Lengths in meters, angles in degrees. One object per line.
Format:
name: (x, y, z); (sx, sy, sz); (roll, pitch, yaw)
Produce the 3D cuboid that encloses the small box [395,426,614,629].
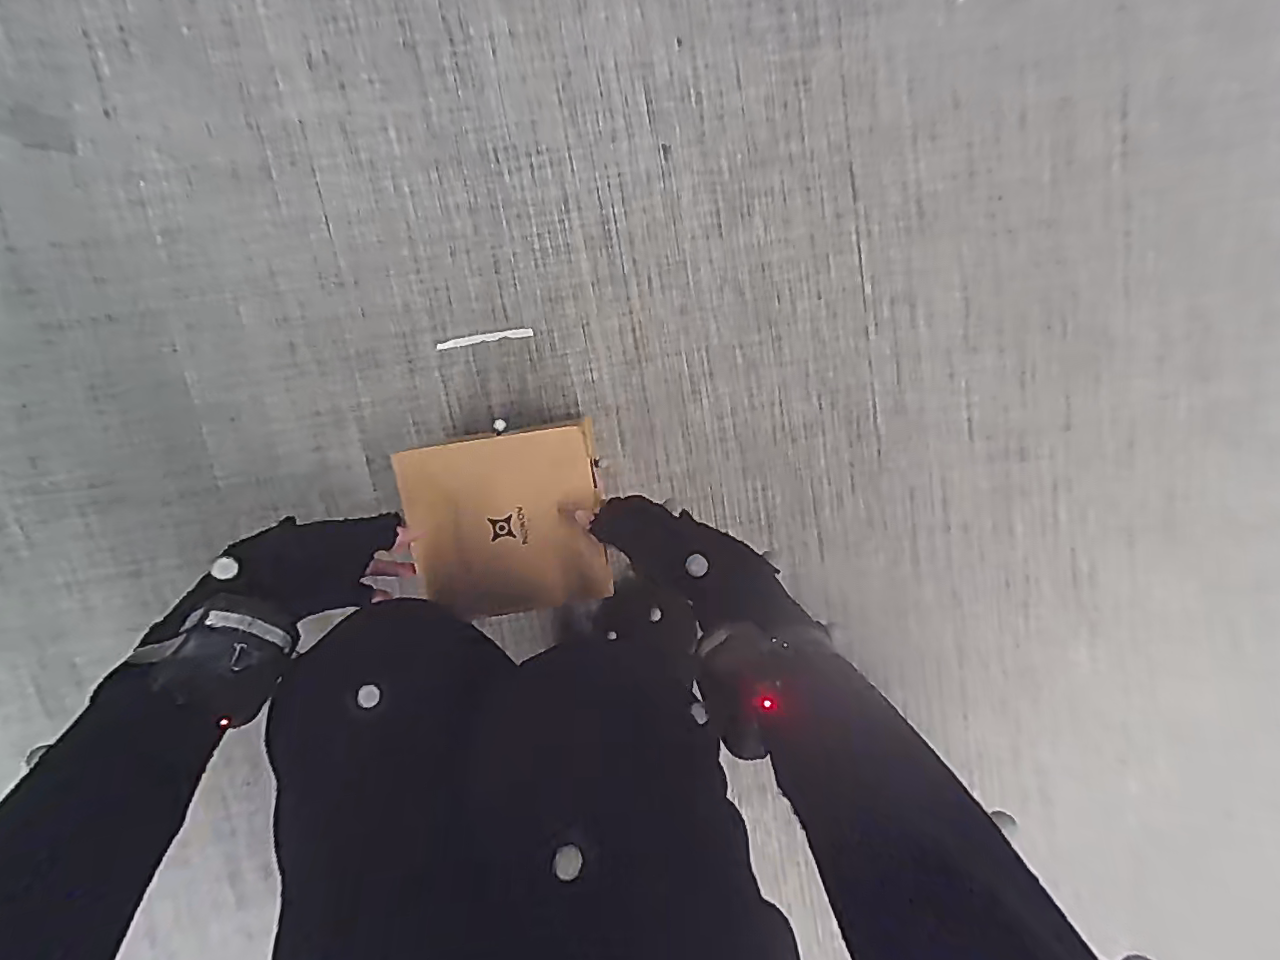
small box: (-0.129, 0.036, 0.577); (0.179, 0.176, 0.168); (-10, 98, -3)
